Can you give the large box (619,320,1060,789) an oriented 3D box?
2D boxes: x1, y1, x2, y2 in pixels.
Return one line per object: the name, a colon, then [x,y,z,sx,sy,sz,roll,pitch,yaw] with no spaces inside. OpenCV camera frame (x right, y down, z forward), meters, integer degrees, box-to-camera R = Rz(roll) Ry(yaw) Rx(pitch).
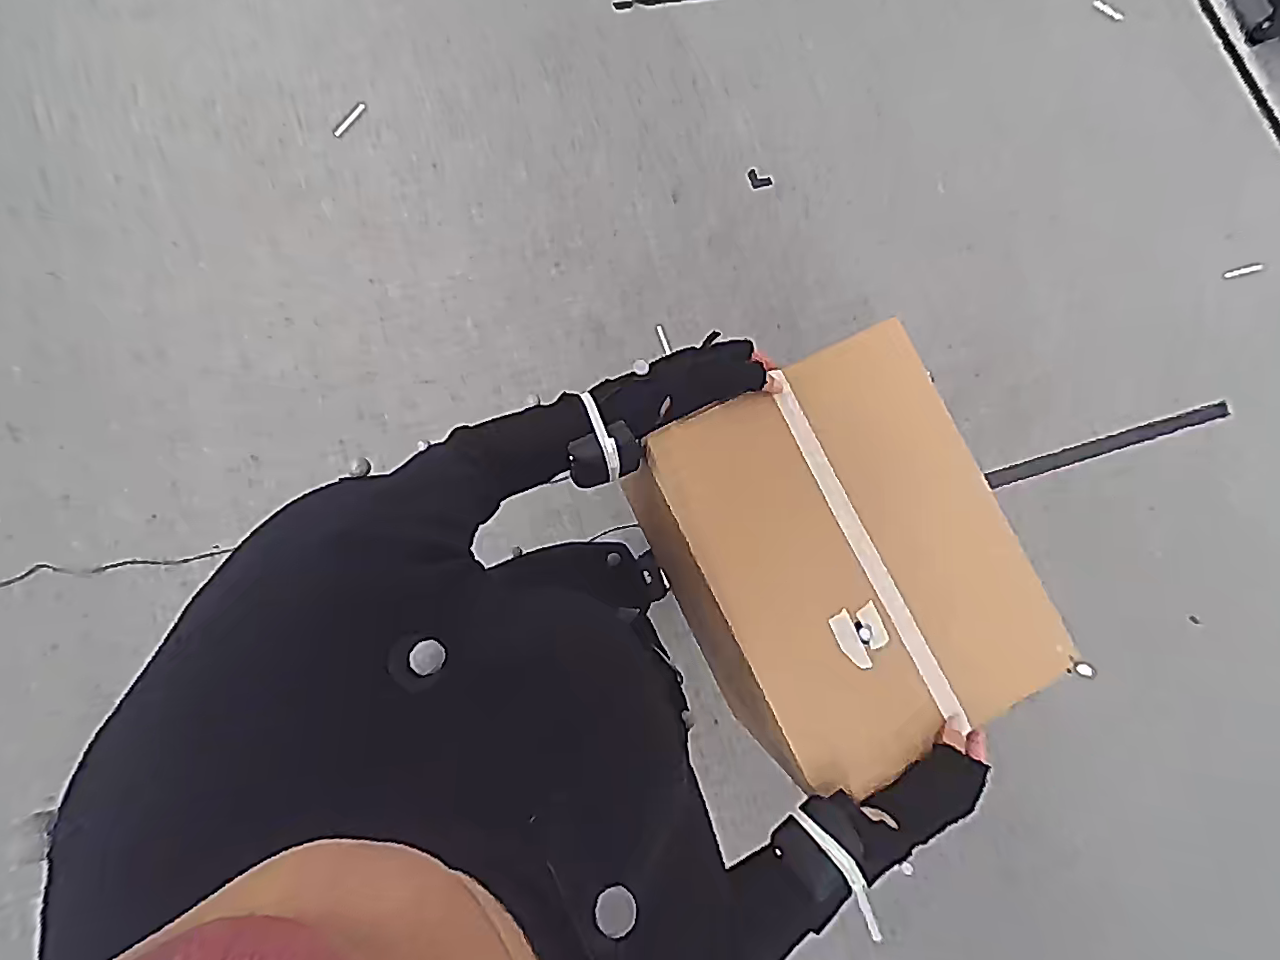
large box: [0.206,0.078,0.706,0.320,0.320,0.408,-26,88,-8]
